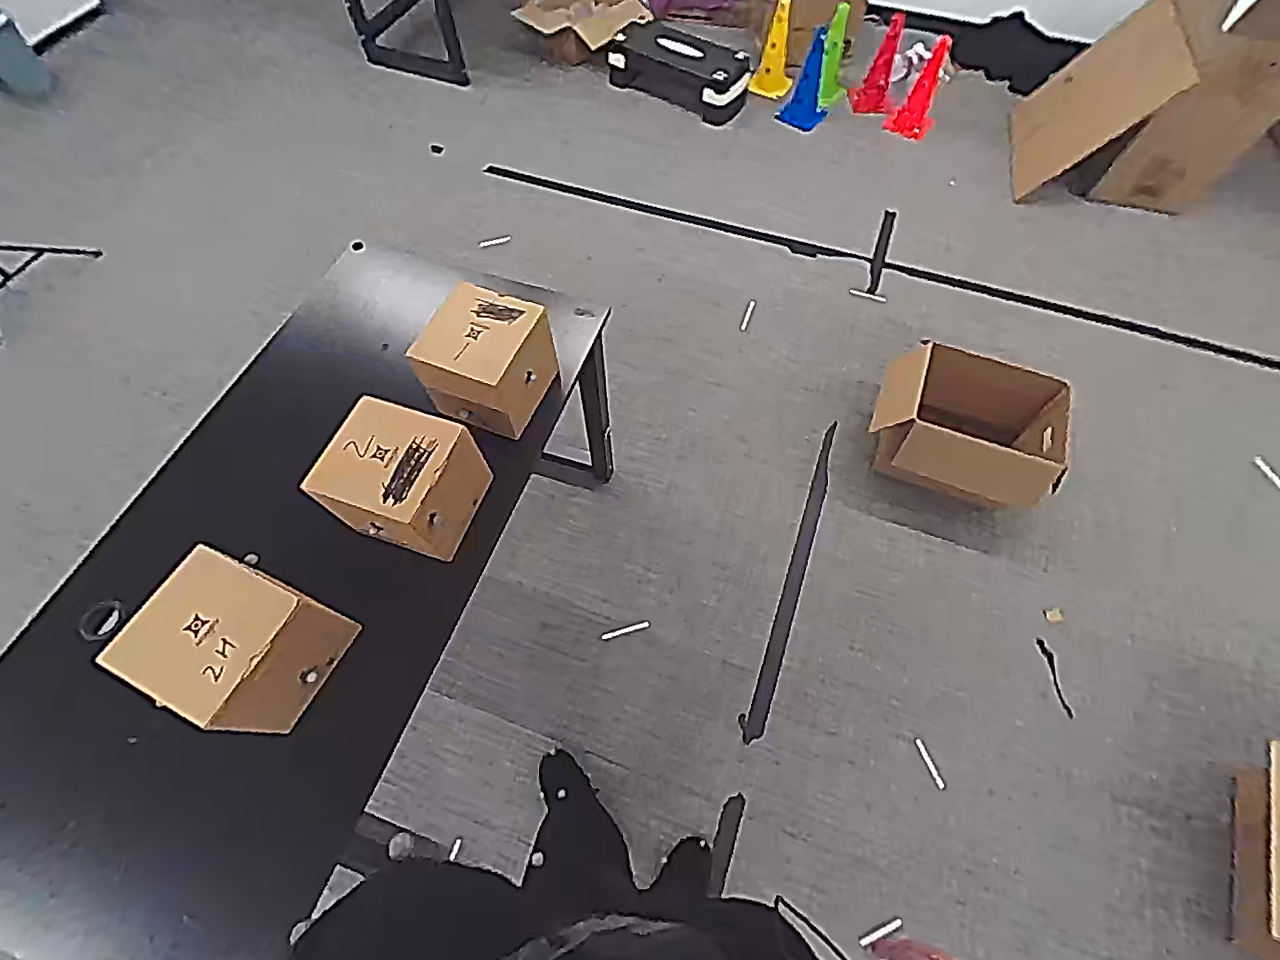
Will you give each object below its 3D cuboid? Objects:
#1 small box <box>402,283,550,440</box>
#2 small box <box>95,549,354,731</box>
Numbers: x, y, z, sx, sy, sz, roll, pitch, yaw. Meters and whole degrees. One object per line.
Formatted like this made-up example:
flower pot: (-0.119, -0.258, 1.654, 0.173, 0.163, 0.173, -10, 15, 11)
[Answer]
small box: (-0.268, -0.201, 0.938, 0.168, 0.176, 0.179, 19, 66, 10)
small box: (-0.534, 0.222, 0.724, 0.179, 0.176, 0.168, 23, 66, 11)
